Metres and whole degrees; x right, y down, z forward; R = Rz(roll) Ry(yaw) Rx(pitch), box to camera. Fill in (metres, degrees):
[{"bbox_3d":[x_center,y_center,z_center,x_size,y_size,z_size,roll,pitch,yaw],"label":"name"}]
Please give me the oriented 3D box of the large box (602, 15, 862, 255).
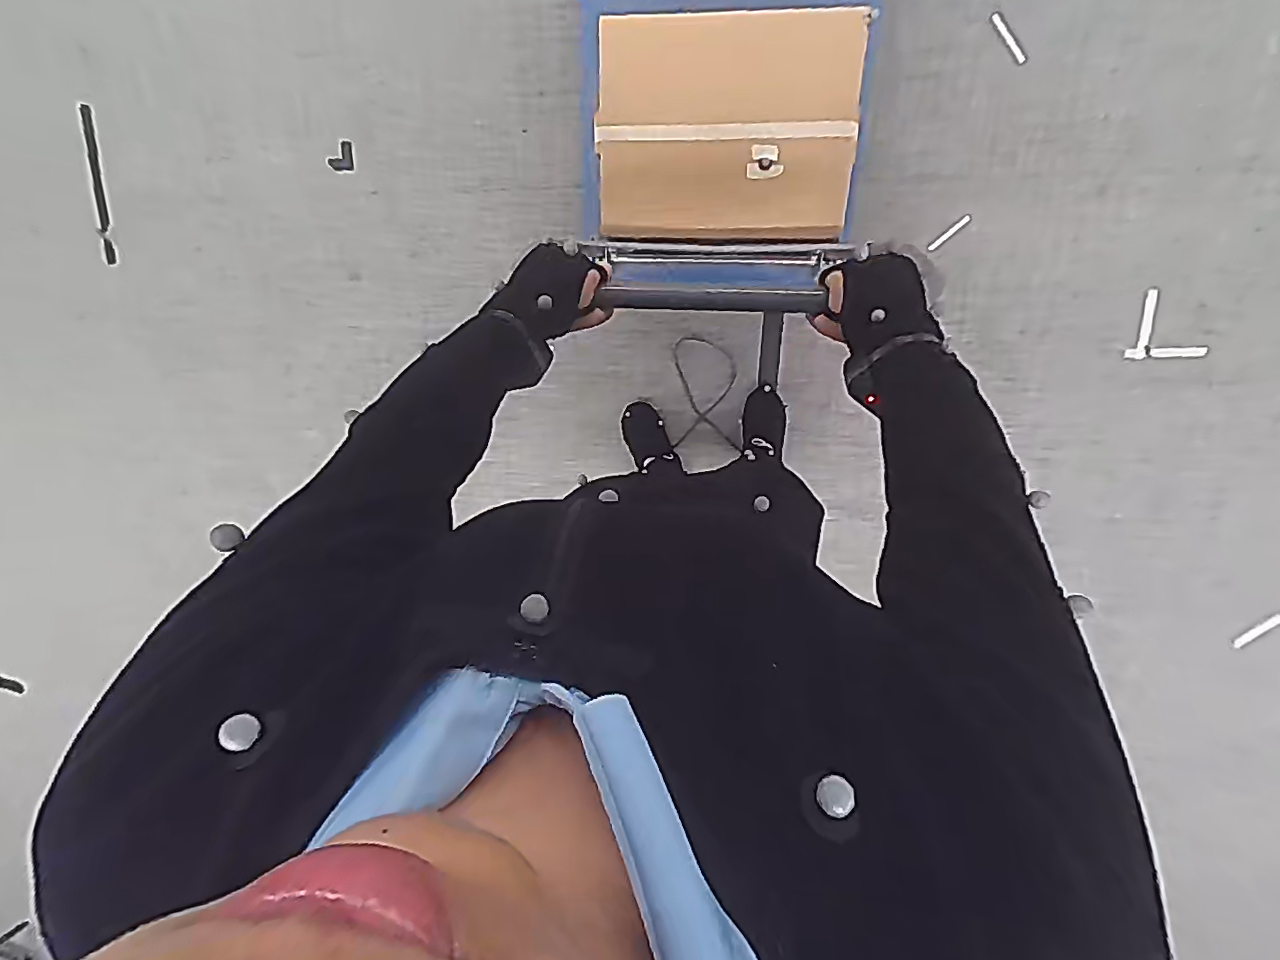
[{"bbox_3d":[0.151,-0.604,1.016,0.408,0.320,0.320,2,110,5],"label":"large box"}]
